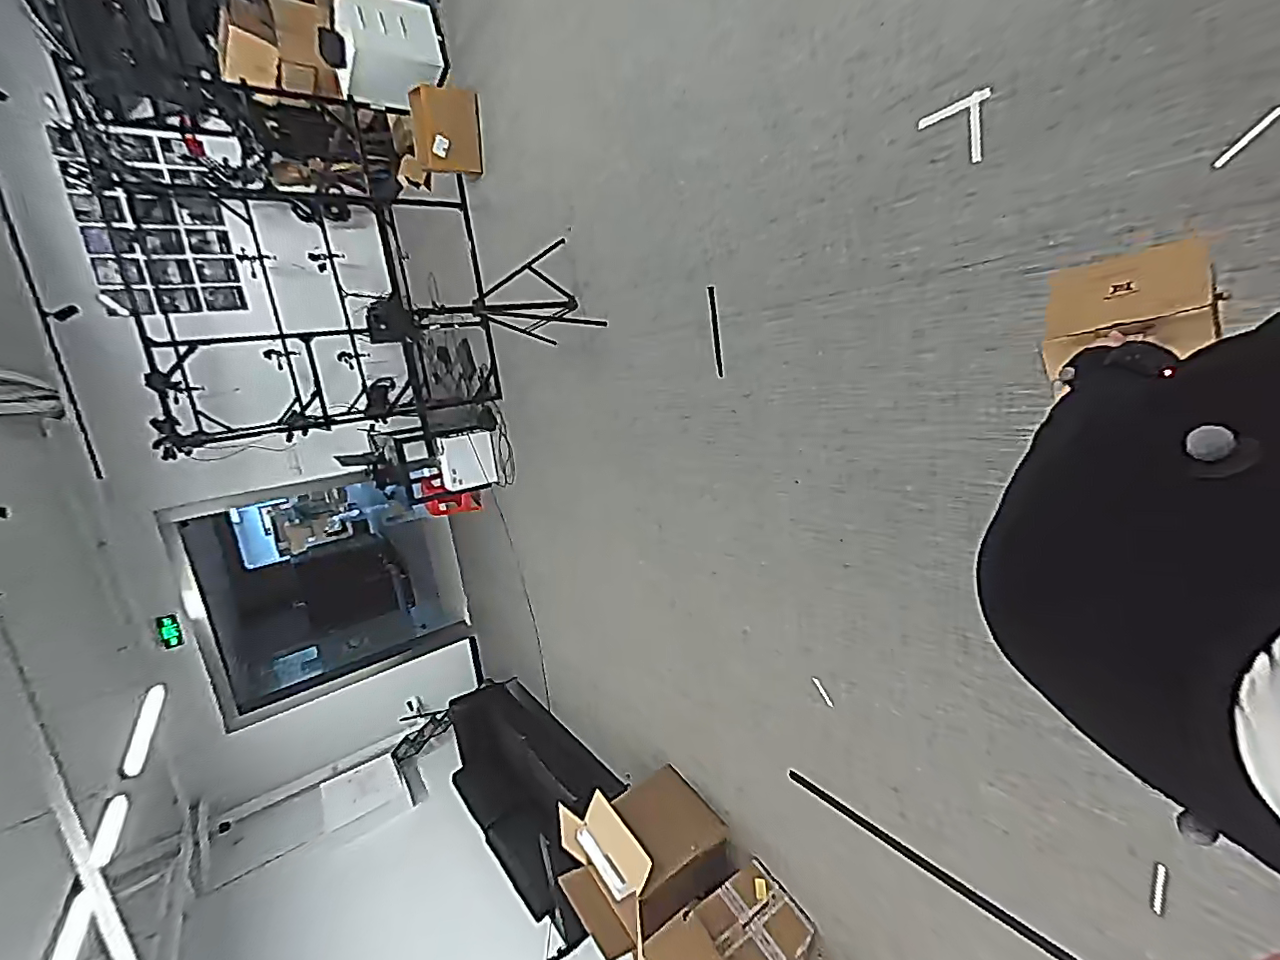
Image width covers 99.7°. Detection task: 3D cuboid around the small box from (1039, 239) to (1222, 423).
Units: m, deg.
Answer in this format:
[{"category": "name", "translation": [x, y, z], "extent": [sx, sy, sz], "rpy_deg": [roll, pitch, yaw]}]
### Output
[{"category": "small box", "translation": [0.687, -0.193, 0.757], "extent": [0.168, 0.179, 0.176], "rpy_deg": [-5, 130, 48]}]
